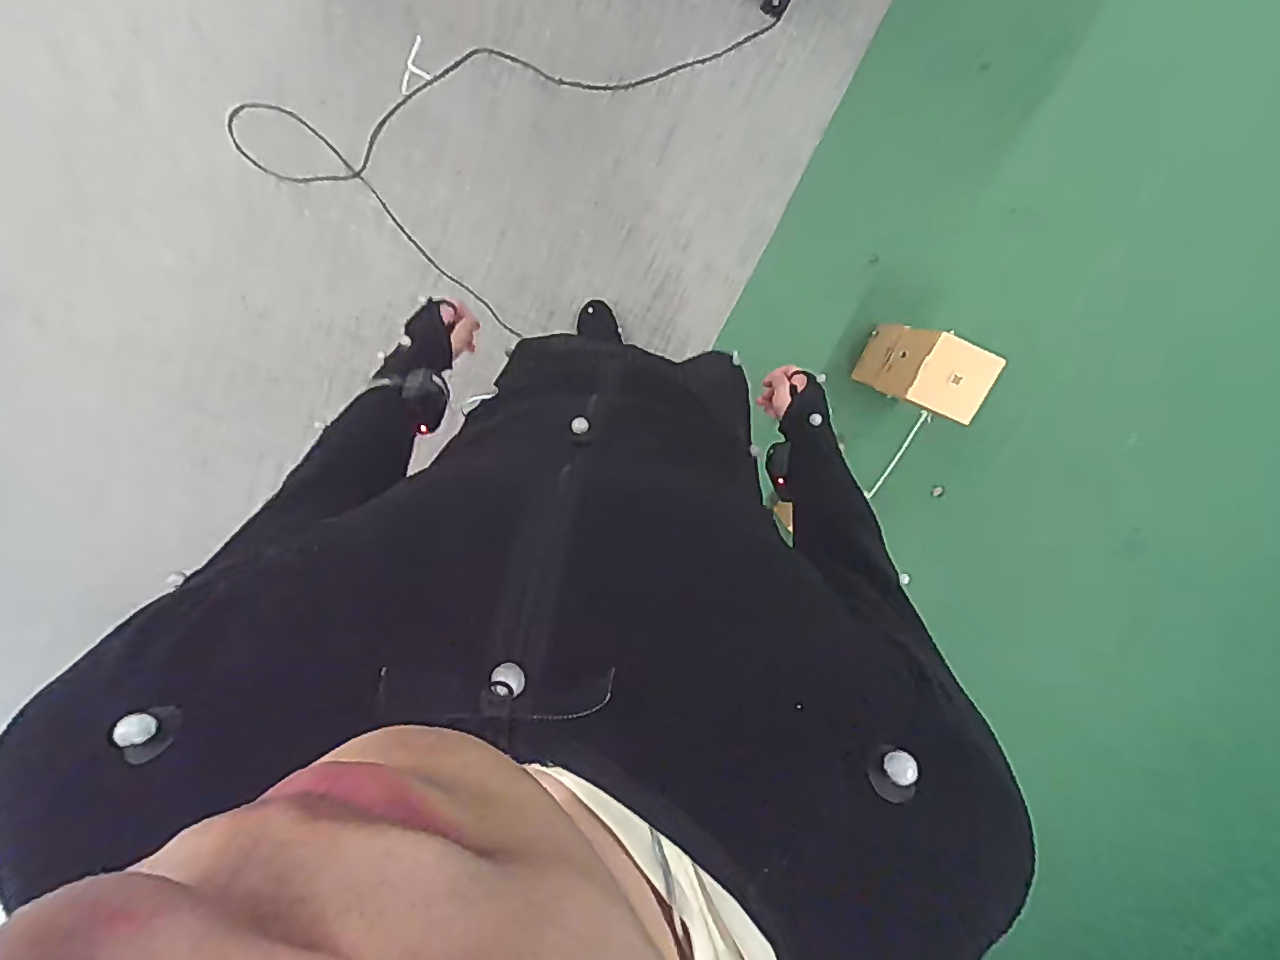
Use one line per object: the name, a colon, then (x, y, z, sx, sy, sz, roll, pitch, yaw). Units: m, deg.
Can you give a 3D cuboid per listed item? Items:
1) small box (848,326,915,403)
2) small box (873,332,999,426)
small box: (0.705, -0.310, 1.476, 0.179, 0.176, 0.168, 22, 106, -8)
small box: (0.713, -0.255, 1.324, 0.179, 0.176, 0.168, 21, 106, -7)
